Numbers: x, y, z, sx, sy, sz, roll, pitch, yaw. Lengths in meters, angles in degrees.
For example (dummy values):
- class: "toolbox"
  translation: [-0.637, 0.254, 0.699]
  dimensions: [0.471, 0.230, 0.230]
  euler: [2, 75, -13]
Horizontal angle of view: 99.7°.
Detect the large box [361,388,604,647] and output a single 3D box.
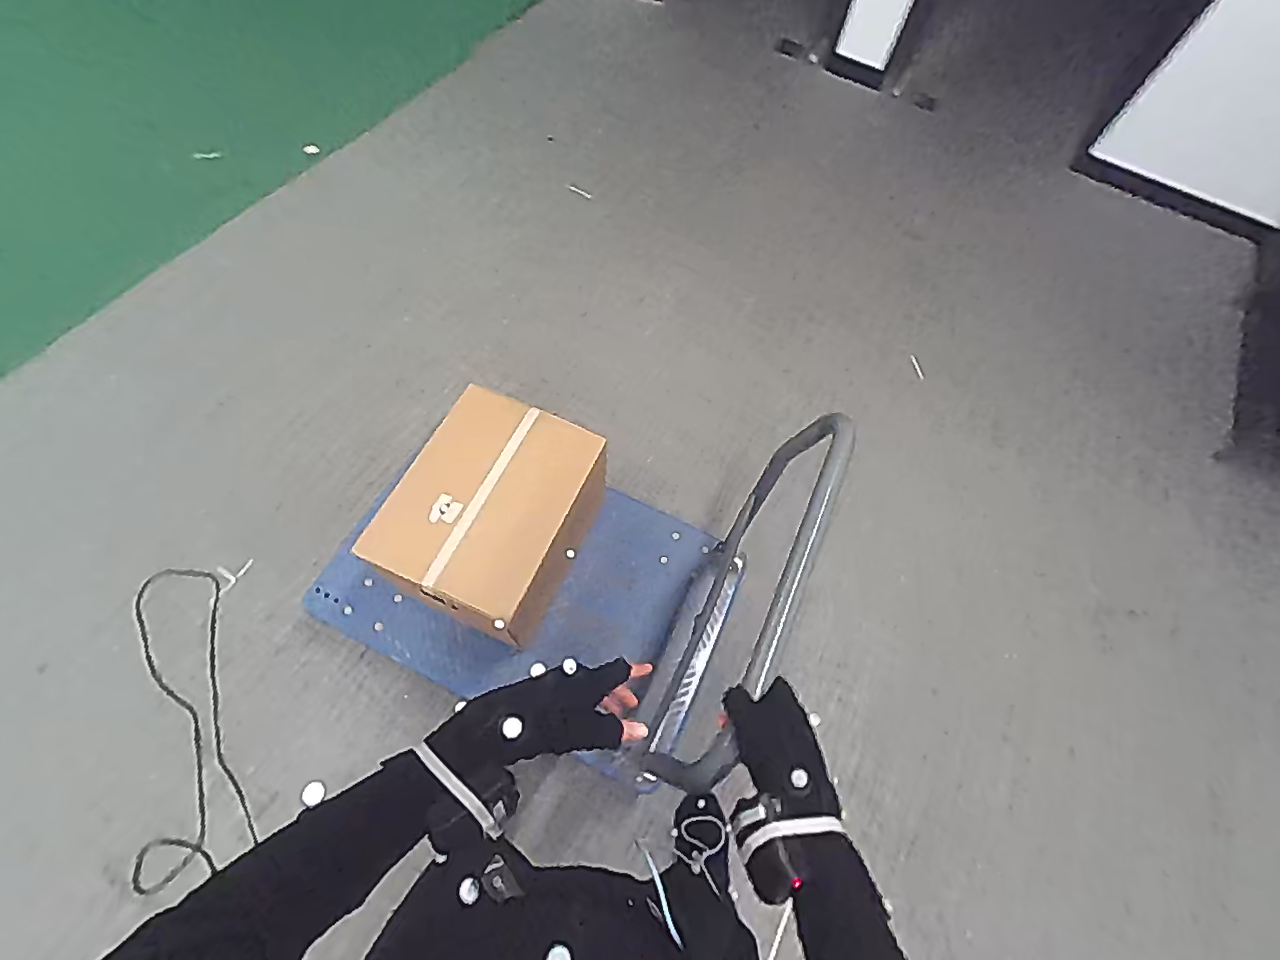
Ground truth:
- class: "large box"
  translation: [-0.294, 0.089, 1.158]
  dimensions: [0.320, 0.320, 0.408]
  euler: [23, 65, 7]
